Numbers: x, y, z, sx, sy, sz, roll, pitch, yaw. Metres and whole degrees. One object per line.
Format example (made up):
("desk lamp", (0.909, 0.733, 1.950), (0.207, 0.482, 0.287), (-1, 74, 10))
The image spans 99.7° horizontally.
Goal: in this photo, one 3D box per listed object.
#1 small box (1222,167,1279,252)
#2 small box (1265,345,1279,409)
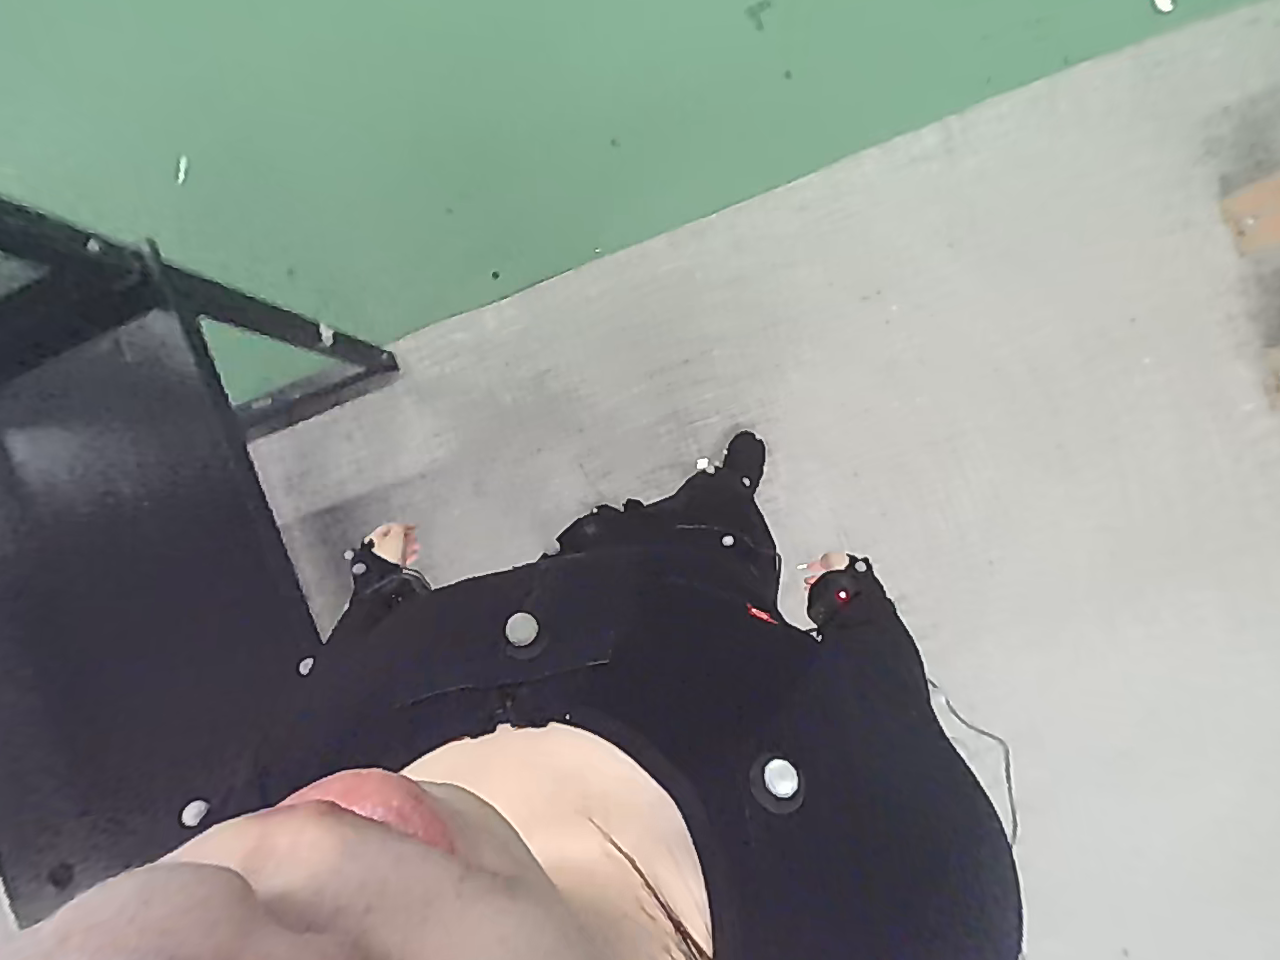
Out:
("small box", (1.596, -0.688, 1.305), (0.179, 0.176, 0.168), (-25, 90, 3))
("small box", (1.702, -0.273, 1.309), (0.179, 0.176, 0.168), (-11, 90, 4))
